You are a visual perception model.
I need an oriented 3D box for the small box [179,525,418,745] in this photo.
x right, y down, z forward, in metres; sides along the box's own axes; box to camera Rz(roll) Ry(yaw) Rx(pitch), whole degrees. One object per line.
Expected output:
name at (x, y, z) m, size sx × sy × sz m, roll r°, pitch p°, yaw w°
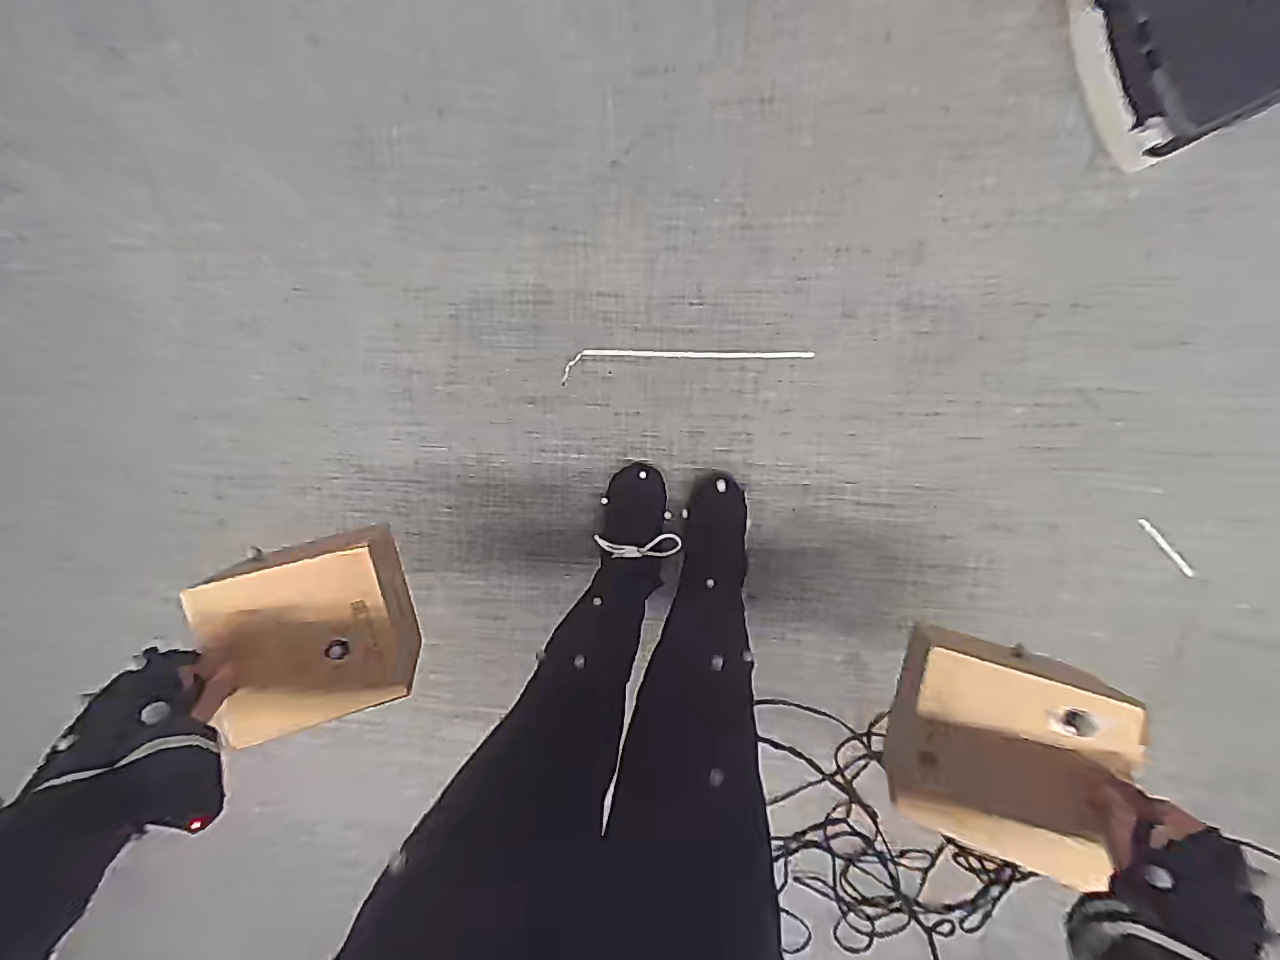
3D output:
small box at (-0.358, 0.155, 0.611) m, size 0.176 × 0.179 × 0.168 m, roll -14°, pitch 98°, yaw -17°
